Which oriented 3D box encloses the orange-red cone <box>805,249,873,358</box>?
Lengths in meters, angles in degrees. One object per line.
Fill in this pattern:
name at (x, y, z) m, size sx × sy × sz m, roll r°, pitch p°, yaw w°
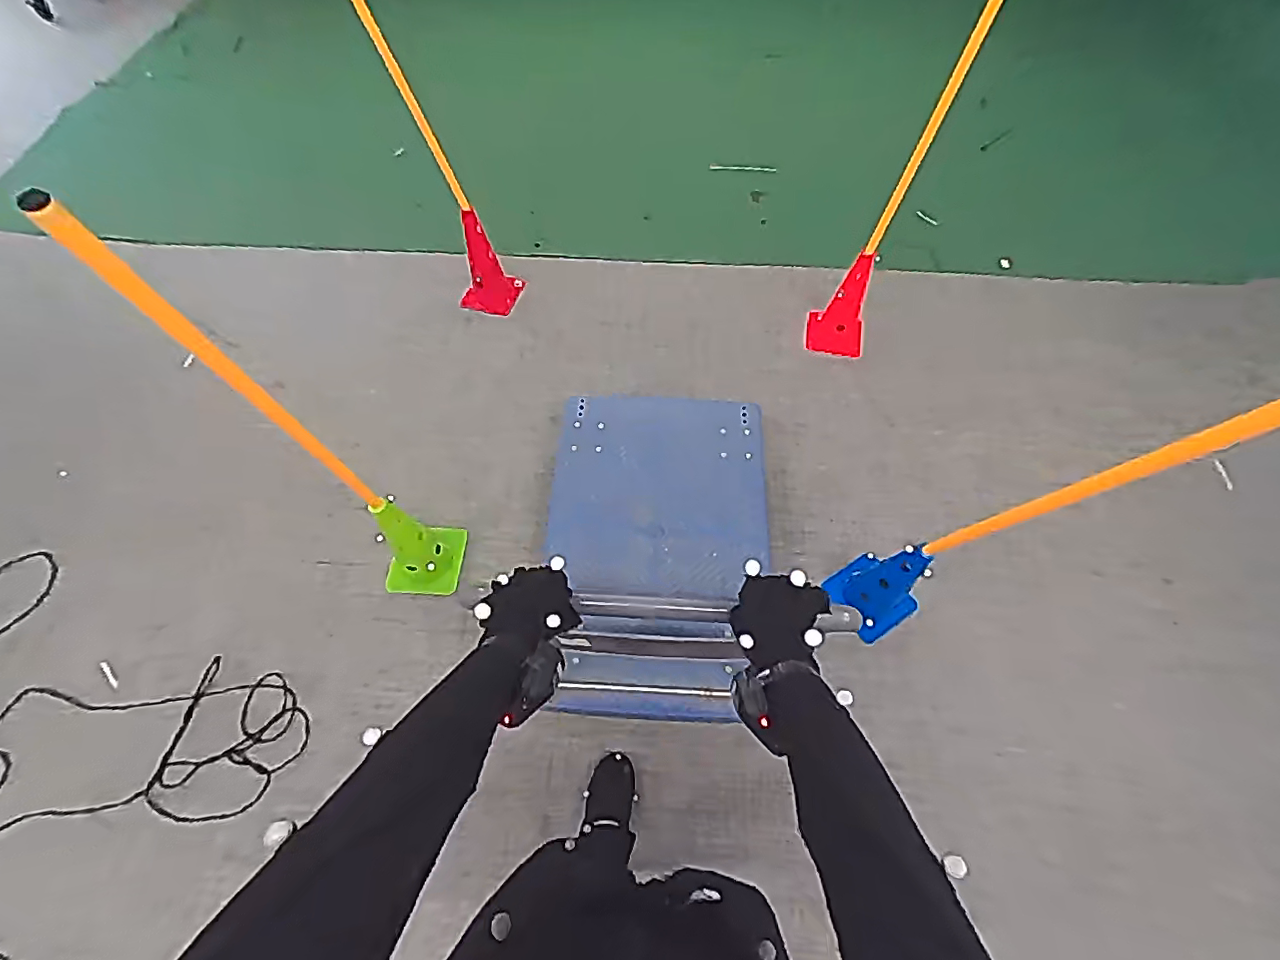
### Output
orange-red cone at (0.704, -0.610, 1.814) m, size 0.198 × 0.360 × 0.199 m, roll 13°, pitch 62°, yaw 8°
